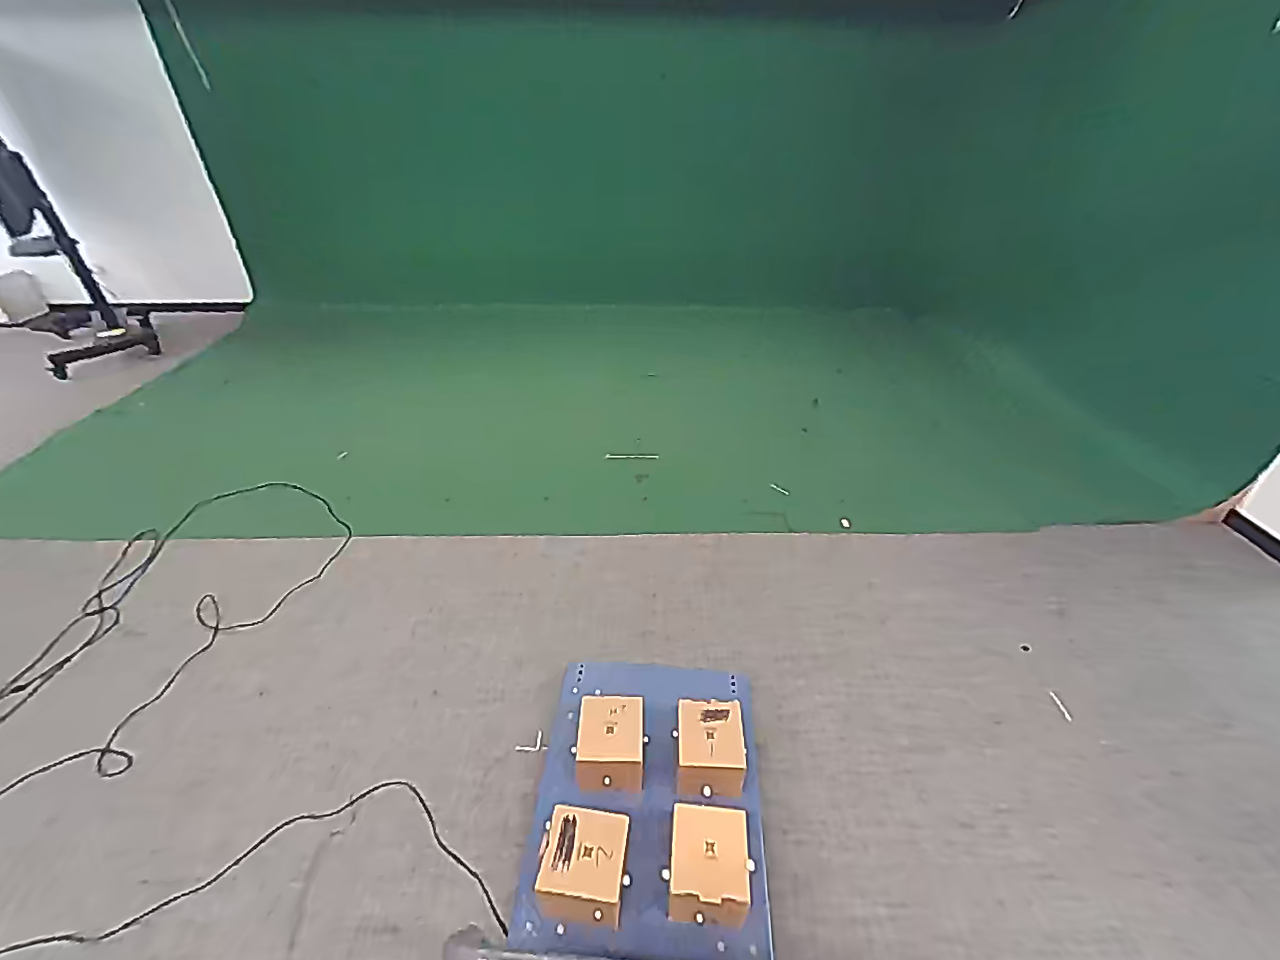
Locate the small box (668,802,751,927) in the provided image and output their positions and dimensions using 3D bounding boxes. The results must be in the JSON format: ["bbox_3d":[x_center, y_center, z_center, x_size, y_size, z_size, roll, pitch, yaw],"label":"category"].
[{"bbox_3d":[0.152,0.863,1.216,0.168,0.176,0.179,4,37,4],"label":"small box"}]

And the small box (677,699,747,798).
[{"bbox_3d":[0.182,0.705,1.424,0.168,0.176,0.179,1,38,3],"label":"small box"}]

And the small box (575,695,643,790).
[{"bbox_3d":[-0.075,0.697,1.433,0.168,0.176,0.179,2,37,0],"label":"small box"}]
